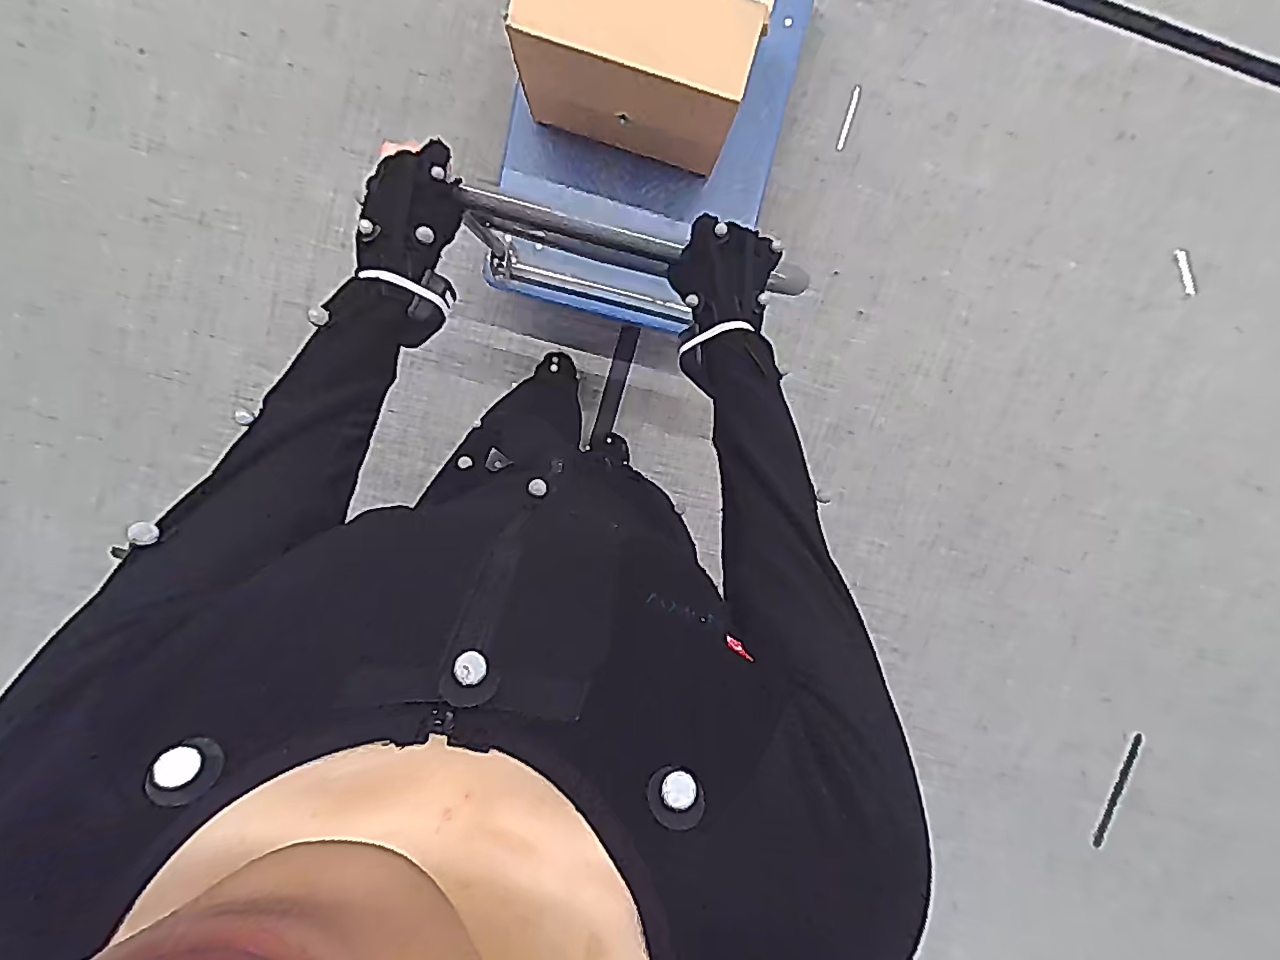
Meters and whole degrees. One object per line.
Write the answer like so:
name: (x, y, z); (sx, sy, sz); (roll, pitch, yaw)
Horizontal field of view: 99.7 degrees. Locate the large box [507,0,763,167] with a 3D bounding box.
large box: (0.008, -0.858, 1.023); (0.408, 0.320, 0.320); (15, 98, -4)
